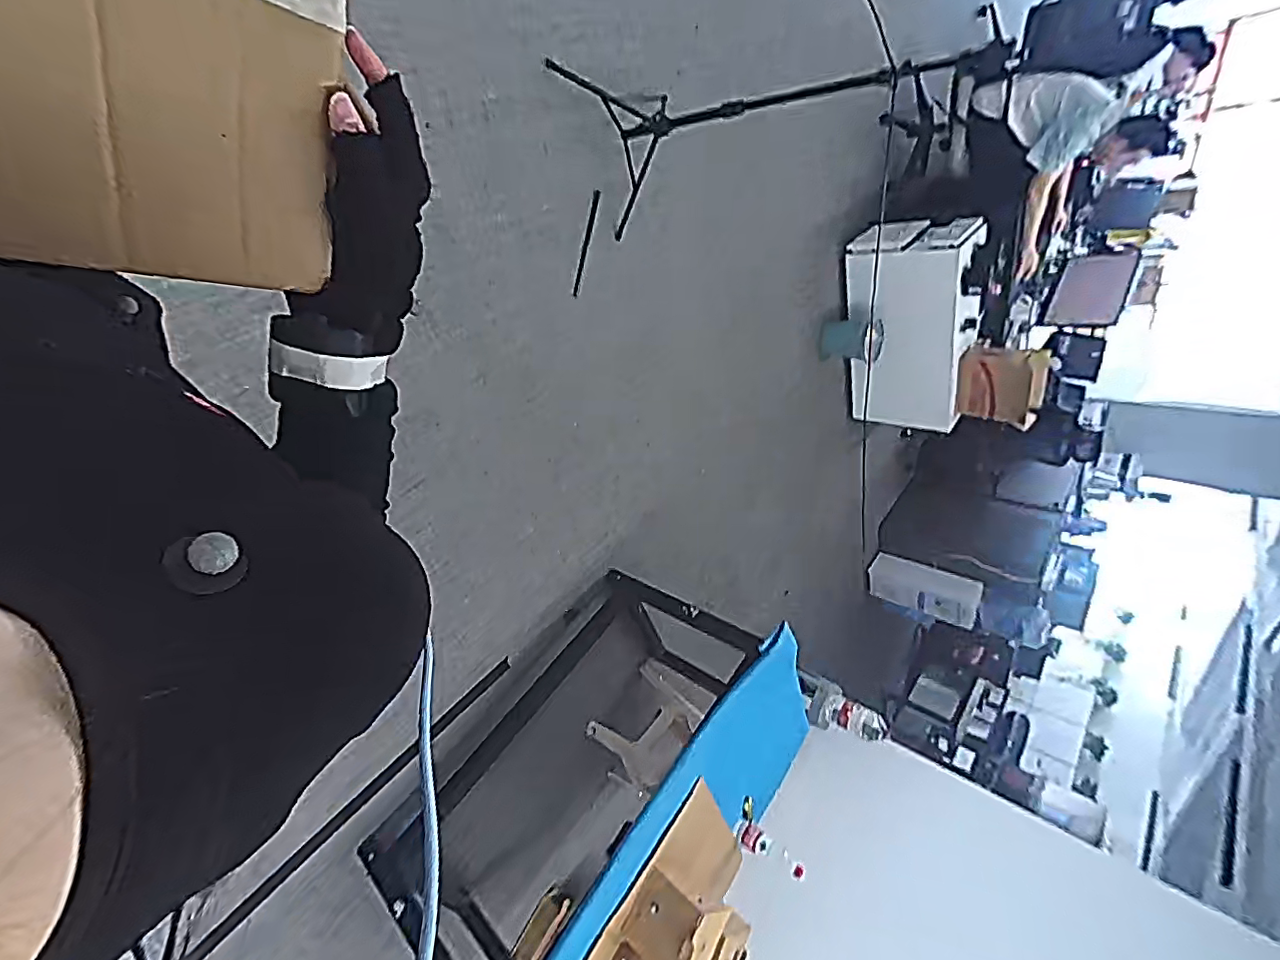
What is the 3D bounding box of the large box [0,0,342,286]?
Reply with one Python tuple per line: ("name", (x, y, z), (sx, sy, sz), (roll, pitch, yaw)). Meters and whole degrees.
("large box", (-0.405, -0.315, 0.250), (0.408, 0.320, 0.320), (-9, 130, -45))
